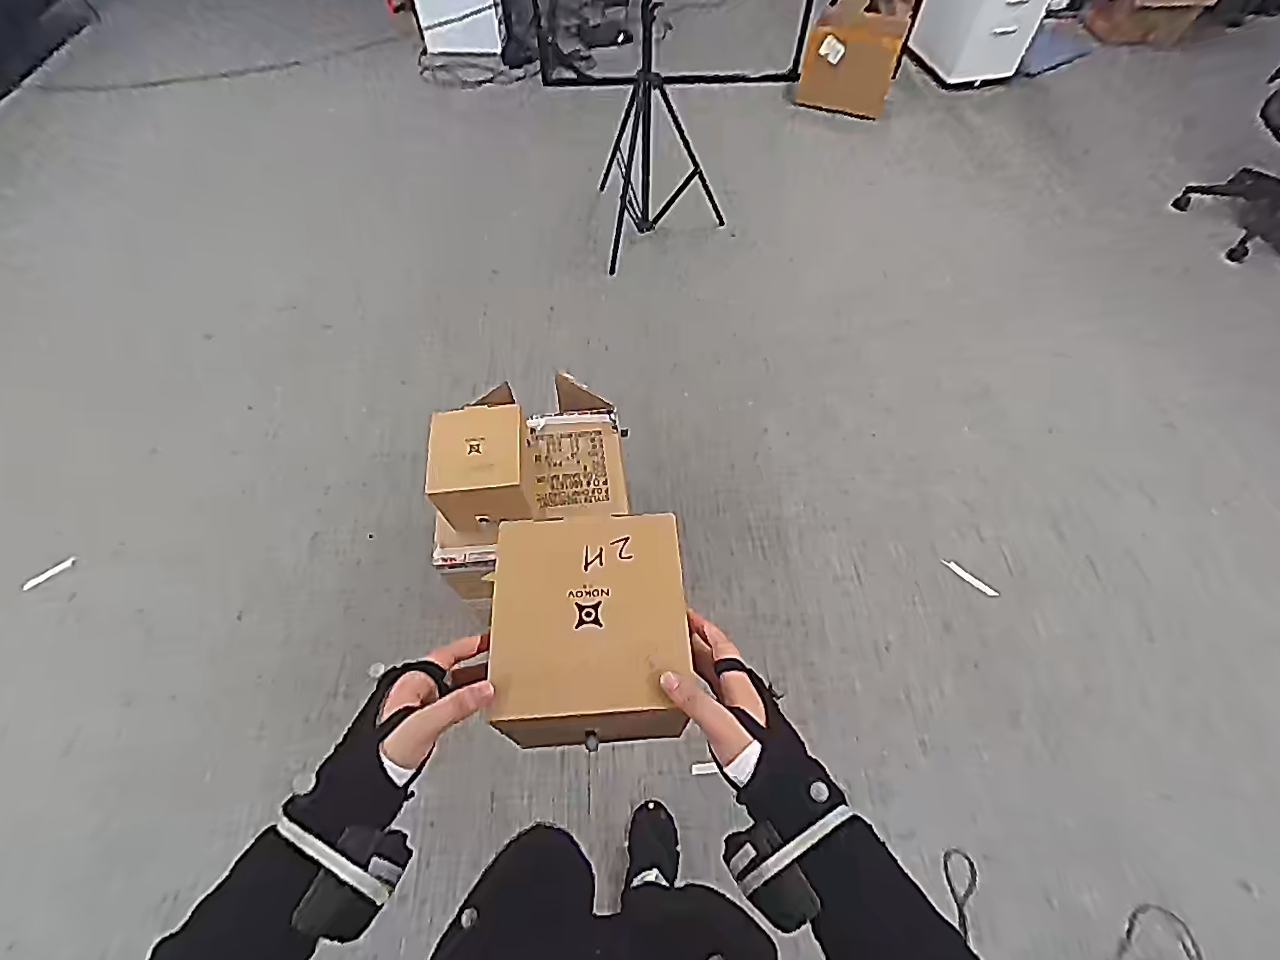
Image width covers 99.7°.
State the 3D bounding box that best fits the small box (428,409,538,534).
[{"bbox_3d":[-0.294,-0.013,1.045,0.168,0.176,0.179,-6,63,-3],"label":"small box"}]
